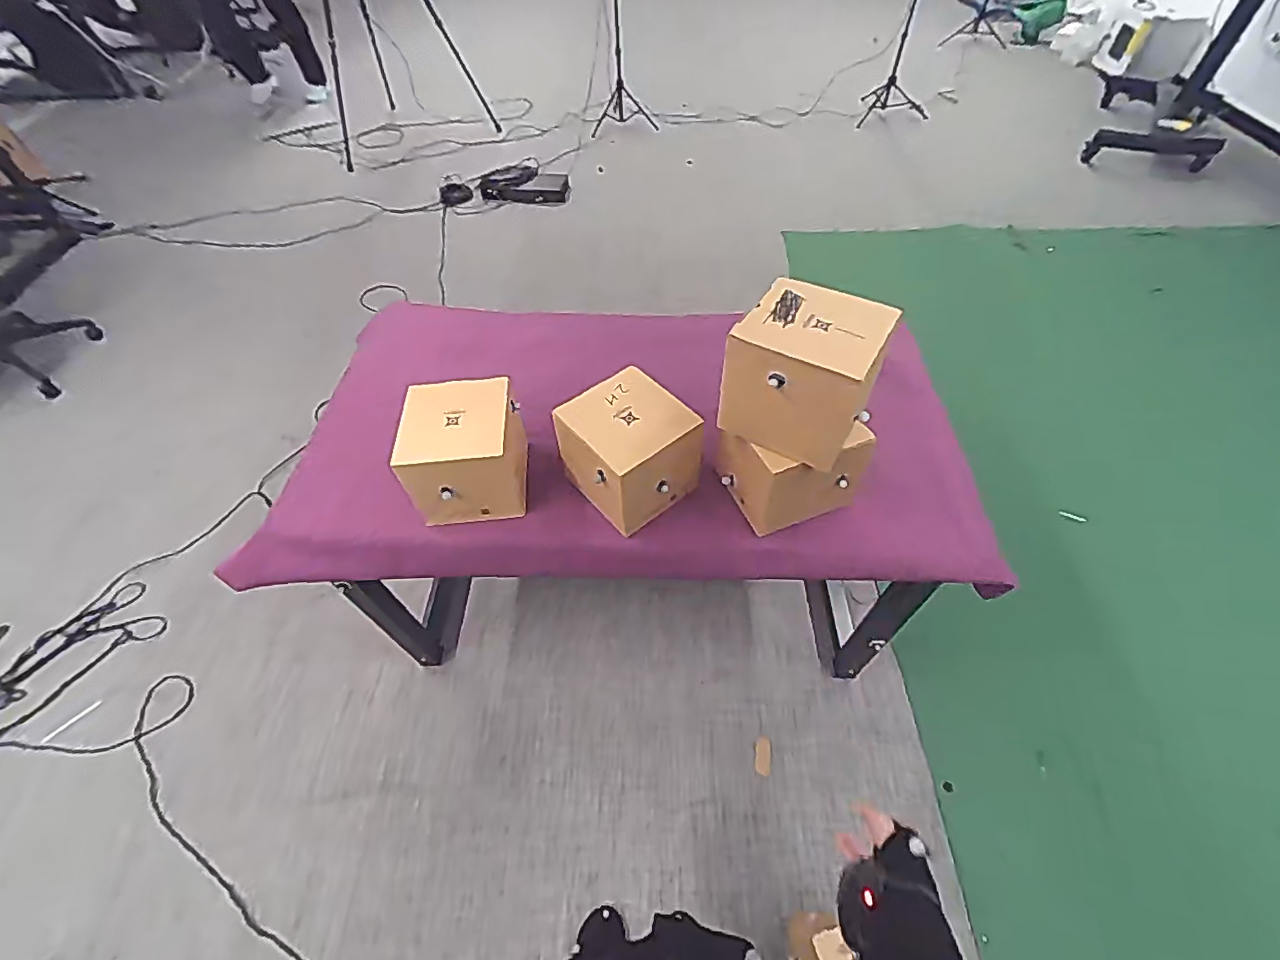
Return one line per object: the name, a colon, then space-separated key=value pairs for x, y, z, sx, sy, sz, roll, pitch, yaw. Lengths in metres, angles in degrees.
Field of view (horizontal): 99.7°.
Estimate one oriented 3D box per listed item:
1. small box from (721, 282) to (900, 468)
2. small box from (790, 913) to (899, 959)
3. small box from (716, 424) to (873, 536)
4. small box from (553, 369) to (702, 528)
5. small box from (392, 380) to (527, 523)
small box: x=0.229 y=-0.145 z=0.760 sx=0.179 sy=0.176 sz=0.168 roll=26 pitch=56 yaw=21
small box: x=0.385 y=0.956 z=1.039 sx=0.179 sy=0.176 sz=0.168 roll=8 pitch=54 yaw=8
small box: x=0.237 y=-0.037 z=0.883 sx=0.179 sy=0.176 sz=0.168 roll=-18 pitch=52 yaw=-11
small box: x=-0.018 y=-0.044 z=0.893 sx=0.168 sy=0.176 sz=0.179 roll=-33 pitch=58 yaw=-23
small box: x=-0.287 y=-0.041 z=0.901 sx=0.168 sy=0.176 sz=0.179 roll=-6 pitch=51 yaw=-3
